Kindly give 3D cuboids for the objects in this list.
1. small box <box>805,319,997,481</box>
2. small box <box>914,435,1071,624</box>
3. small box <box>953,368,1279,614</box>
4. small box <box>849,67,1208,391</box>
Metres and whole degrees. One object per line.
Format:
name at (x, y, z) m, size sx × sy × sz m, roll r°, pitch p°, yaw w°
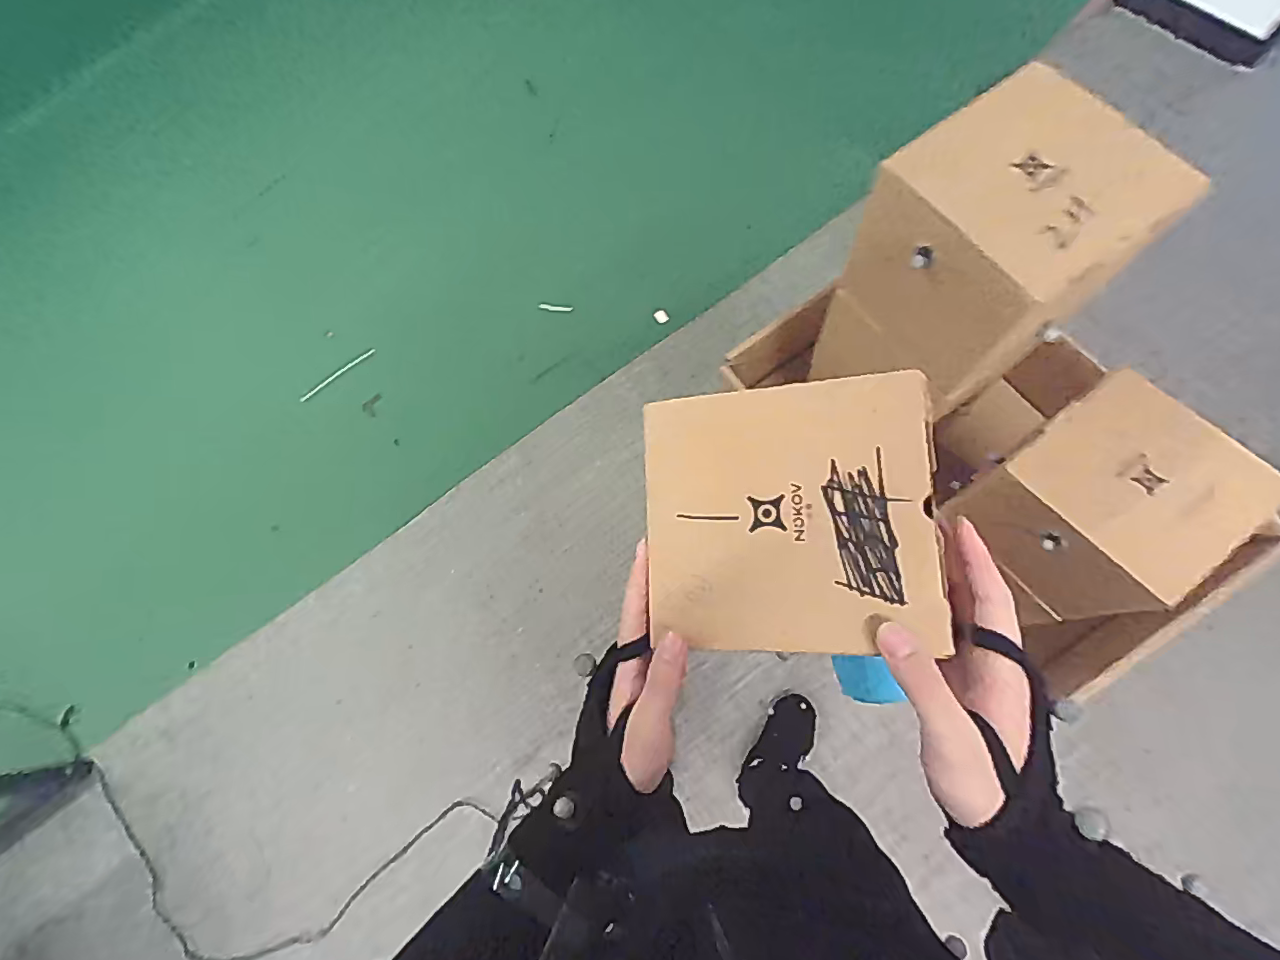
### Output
small box at (0.373, -0.125, 0.815) m, size 0.168 × 0.176 × 0.179 m, roll -35°, pitch 72°, yaw -2°
small box at (0.507, 0.075, 0.725) m, size 0.168 × 0.176 × 0.179 m, roll -37°, pitch 69°, yaw -3°
small box at (0.478, 0.024, 0.573) m, size 0.168 × 0.176 × 0.179 m, roll -39°, pitch 70°, yaw -3°
small box at (0.324, -0.216, 0.502) m, size 0.168 × 0.176 × 0.179 m, roll -34°, pitch 72°, yaw -1°
